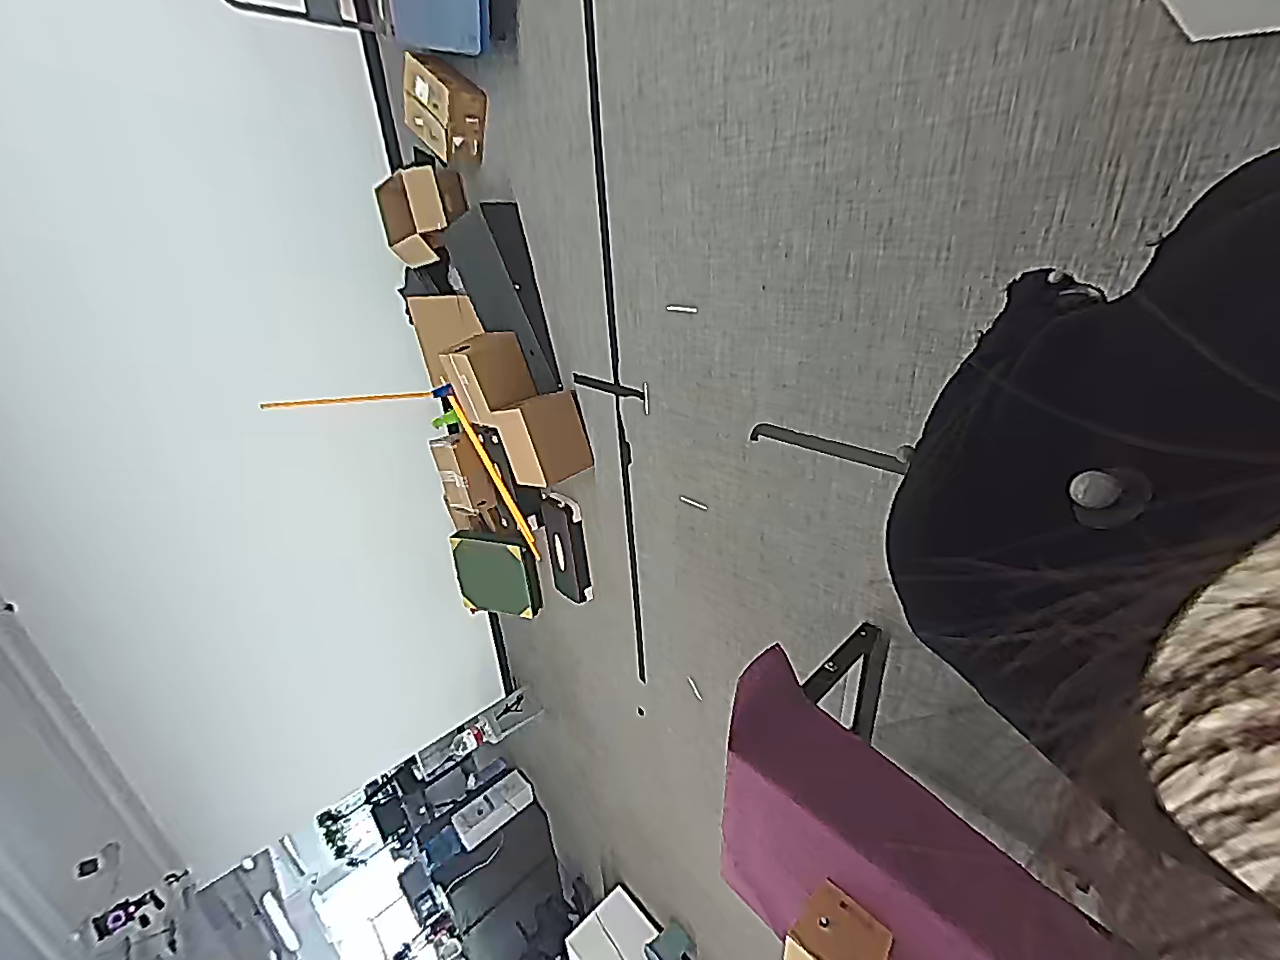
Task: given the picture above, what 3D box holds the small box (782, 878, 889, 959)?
[{"bbox_3d":[0.442,1.067,1.228,0.168,0.176,0.179,23,127,43],"label":"small box"}]
